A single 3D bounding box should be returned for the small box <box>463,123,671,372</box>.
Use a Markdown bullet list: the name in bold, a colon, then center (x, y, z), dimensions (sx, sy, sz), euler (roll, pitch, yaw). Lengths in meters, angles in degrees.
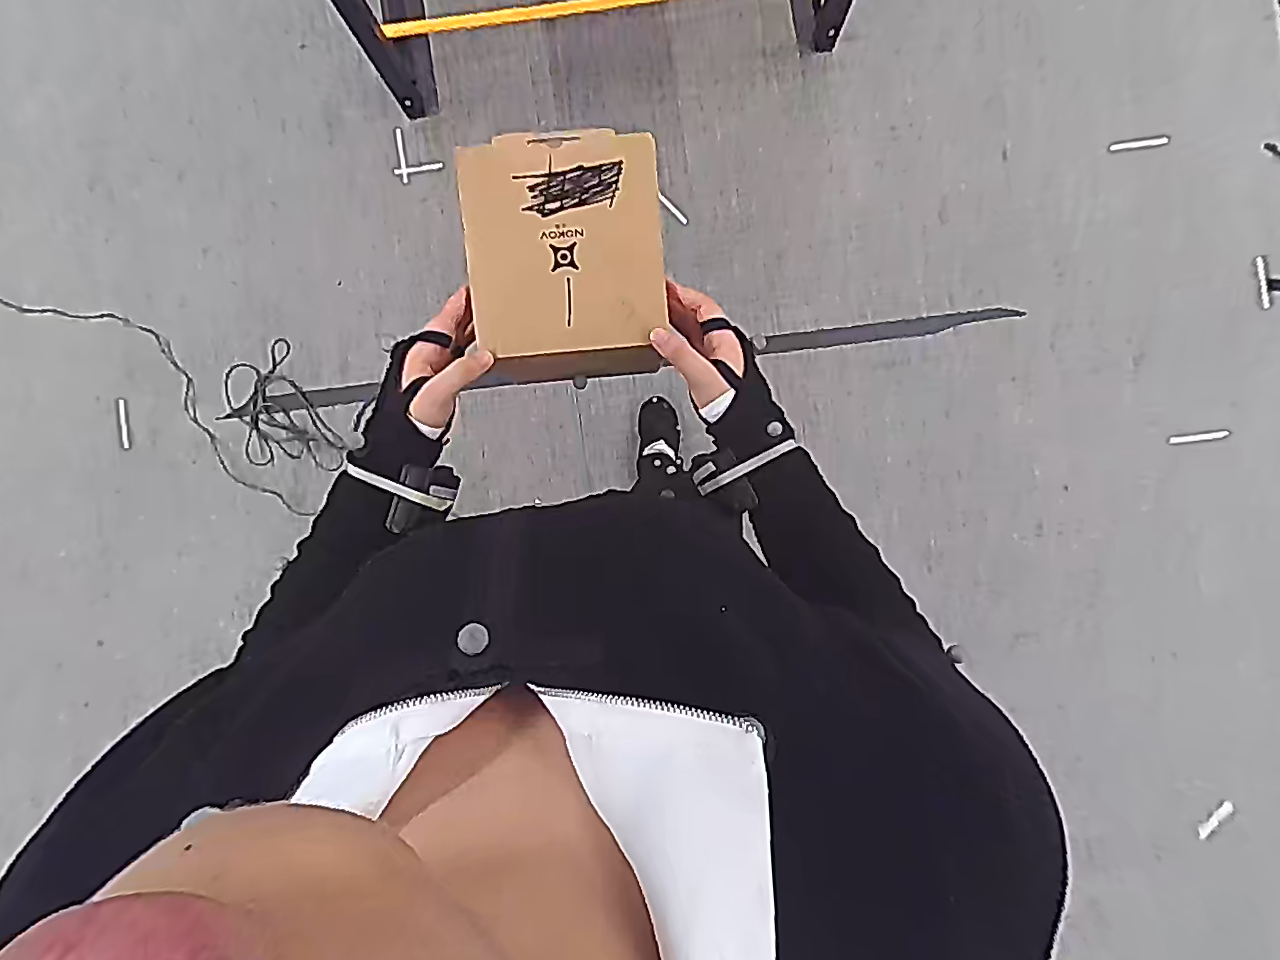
- **small box**: center (-0.064, -0.212, 0.536), dimensions (0.168, 0.176, 0.179), euler (-5, 94, -1)
